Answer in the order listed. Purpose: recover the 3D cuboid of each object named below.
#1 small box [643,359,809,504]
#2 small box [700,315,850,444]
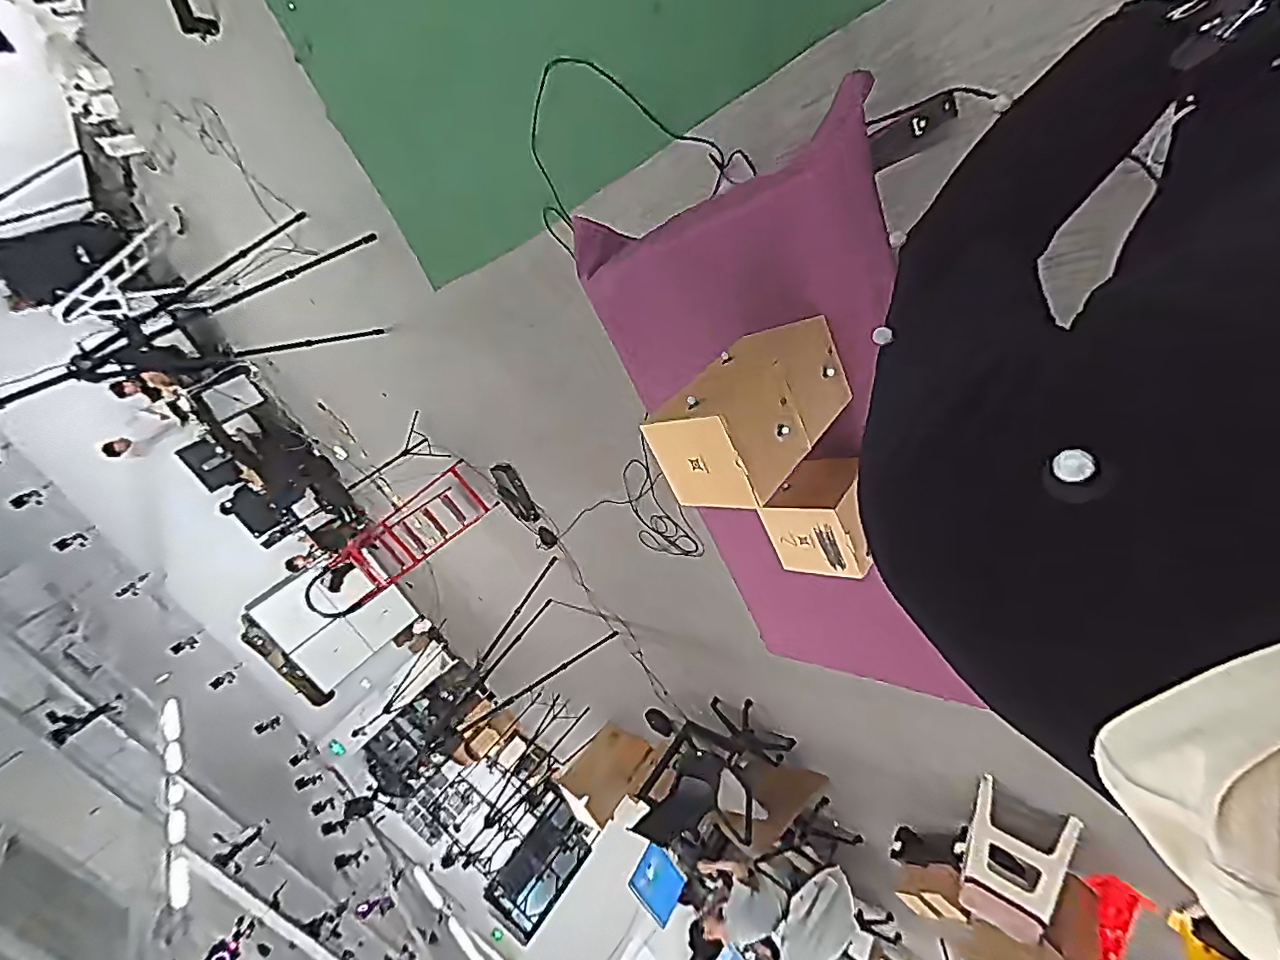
[{"bbox_3d":[0.144,-0.078,0.886,0.179,0.176,0.168,-2,124,49],"label":"small box"},{"bbox_3d":[0.245,-0.173,0.971,0.179,0.176,0.168,-1,125,49],"label":"small box"}]
